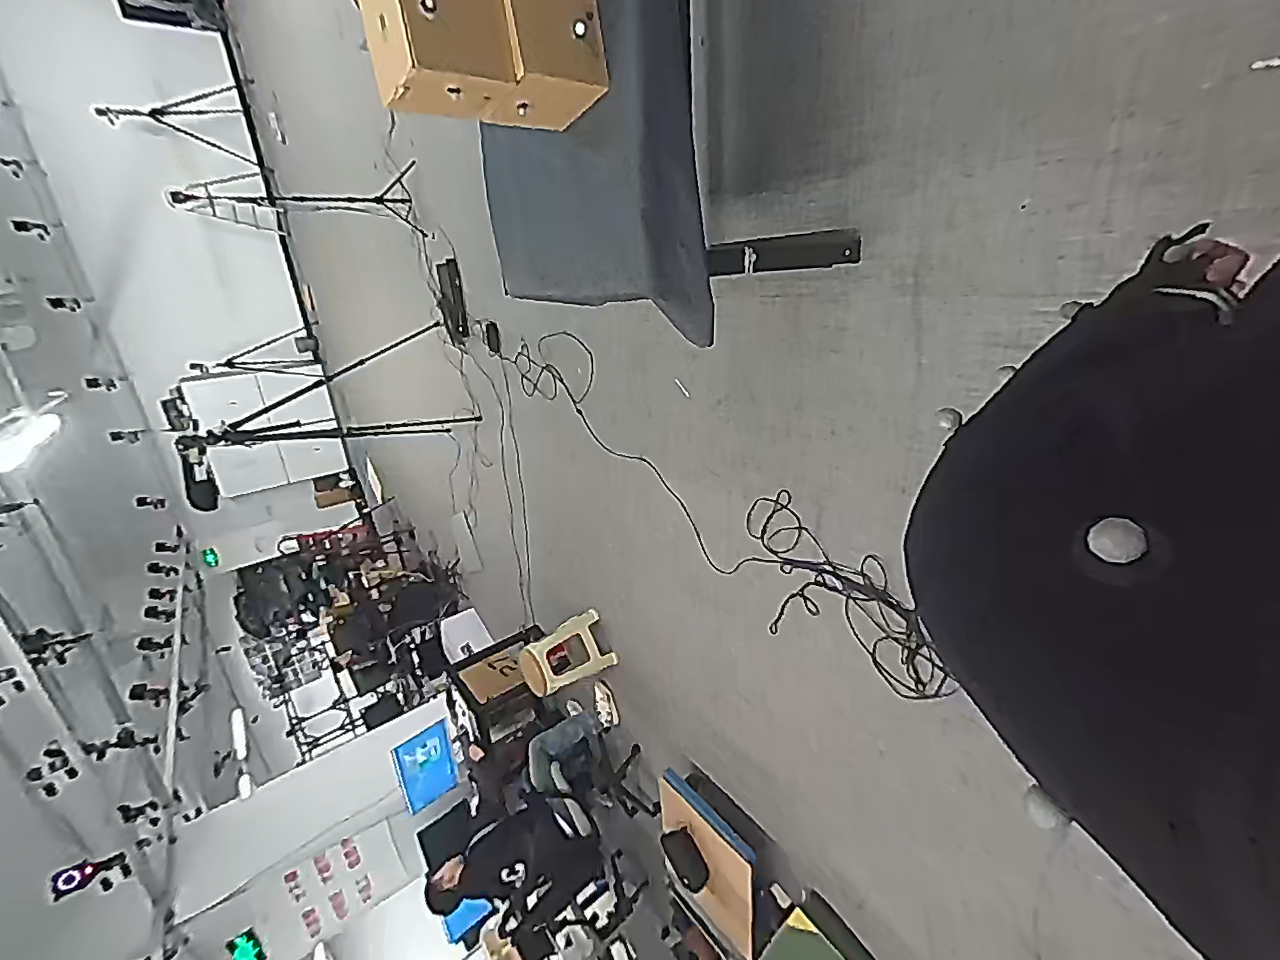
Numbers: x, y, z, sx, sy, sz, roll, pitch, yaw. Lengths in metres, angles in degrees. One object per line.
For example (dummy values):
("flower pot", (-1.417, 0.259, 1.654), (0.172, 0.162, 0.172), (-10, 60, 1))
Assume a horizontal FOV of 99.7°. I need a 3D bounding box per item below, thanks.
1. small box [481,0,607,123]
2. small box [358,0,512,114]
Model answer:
("small box", (-0.180, -0.738, 0.925), (0.179, 0.176, 0.168), (7, 113, 52))
("small box", (-0.317, -0.698, 0.845), (0.168, 0.176, 0.179), (12, 116, 50))
